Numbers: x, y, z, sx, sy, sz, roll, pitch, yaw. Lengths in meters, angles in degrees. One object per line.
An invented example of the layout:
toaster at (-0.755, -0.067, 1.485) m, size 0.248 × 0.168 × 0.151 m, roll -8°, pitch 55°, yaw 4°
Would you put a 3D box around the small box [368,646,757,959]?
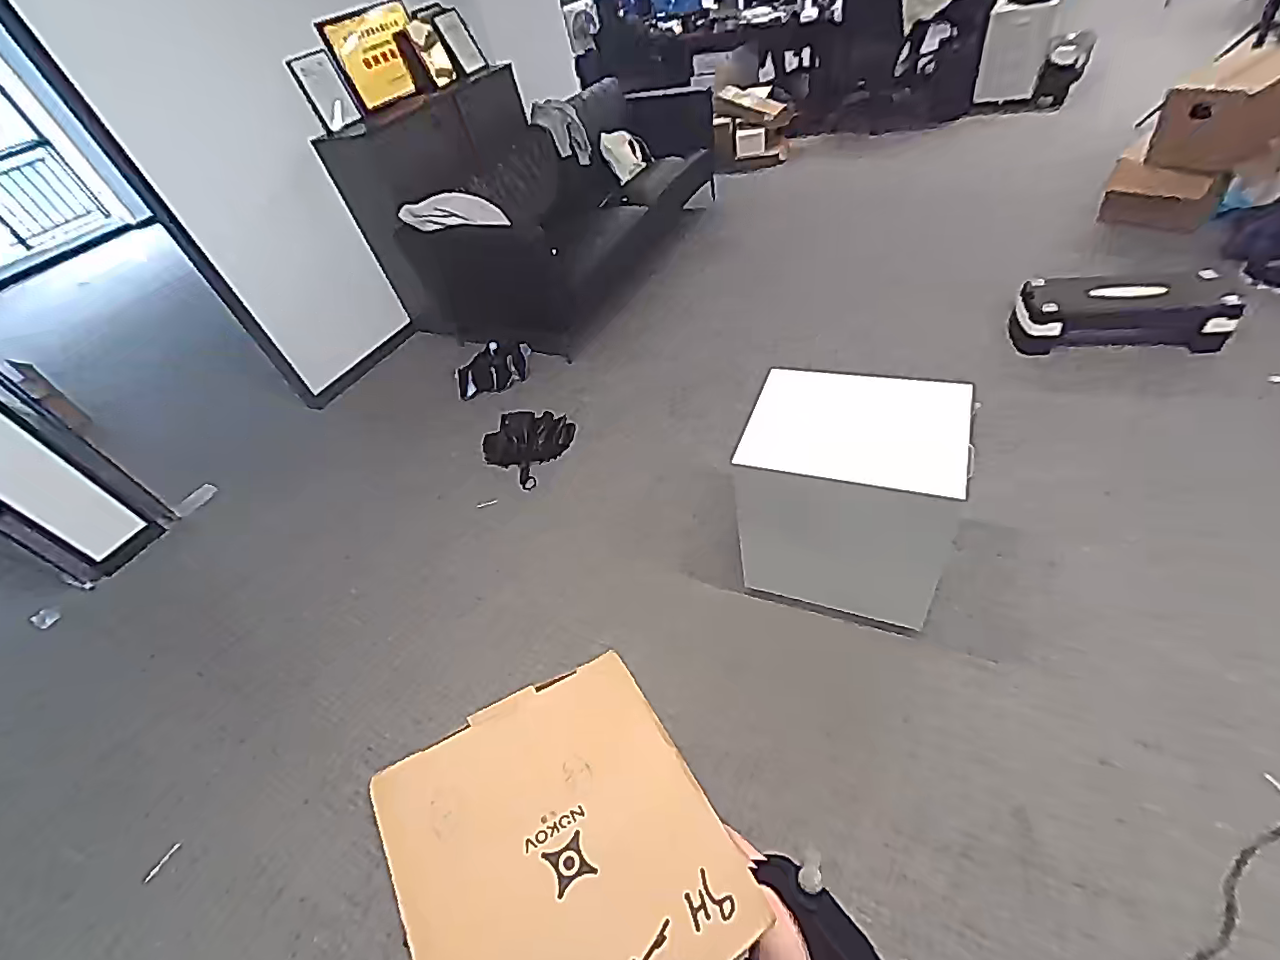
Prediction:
small box at (-0.056, 0.252, 0.358) m, size 0.168 × 0.176 × 0.179 m, roll -21°, pitch 52°, yaw -24°
